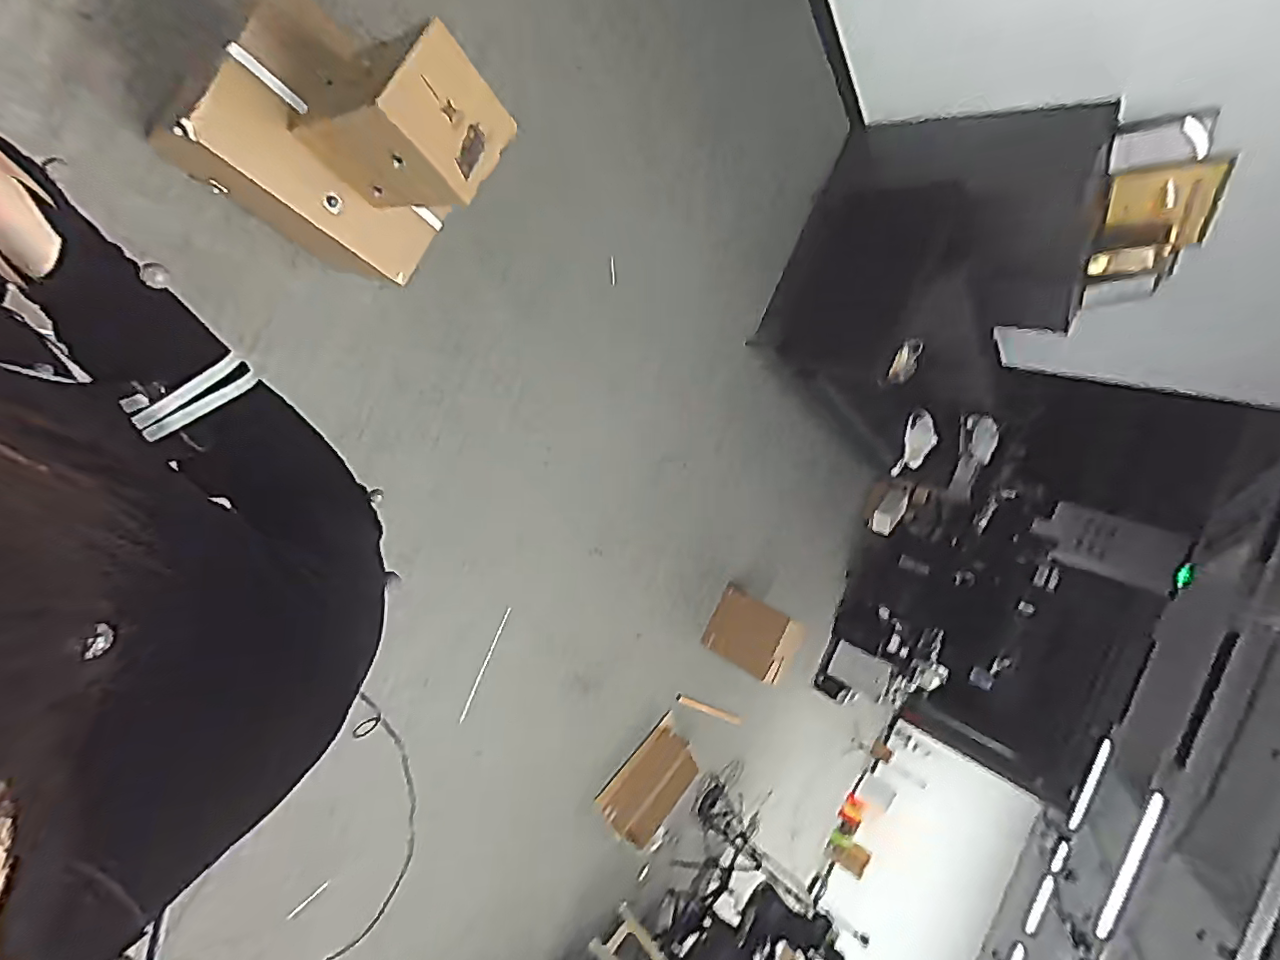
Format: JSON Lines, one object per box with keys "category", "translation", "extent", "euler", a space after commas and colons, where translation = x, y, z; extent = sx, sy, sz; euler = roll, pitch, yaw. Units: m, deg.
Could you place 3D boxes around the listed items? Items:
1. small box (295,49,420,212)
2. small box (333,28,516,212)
{"category": "small box", "translation": [-0.462, -0.608, 0.961], "extent": [0.179, 0.176, 0.168], "euler": [38, 75, -51]}
{"category": "small box", "translation": [-0.341, -0.558, 0.862], "extent": [0.179, 0.176, 0.168], "euler": [40, 74, -50]}
